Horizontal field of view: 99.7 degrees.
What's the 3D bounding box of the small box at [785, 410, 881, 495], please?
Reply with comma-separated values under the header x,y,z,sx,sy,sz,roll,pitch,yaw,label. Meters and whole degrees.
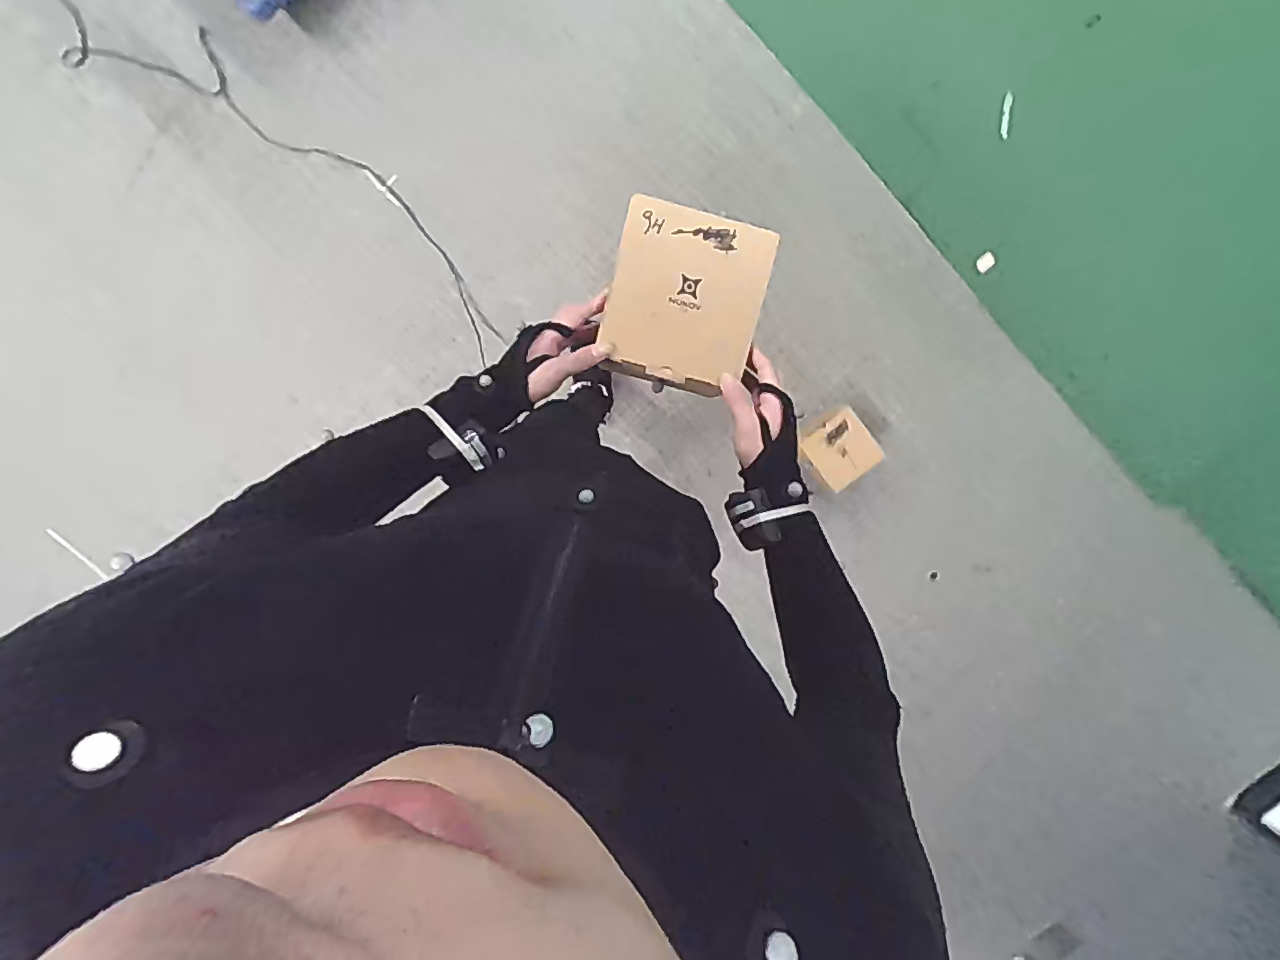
x,y,z,sx,sy,sz,roll,pitch,yaw,label
0.537,-0.083,1.538,0.168,0.176,0.179,-38,97,8,small box
